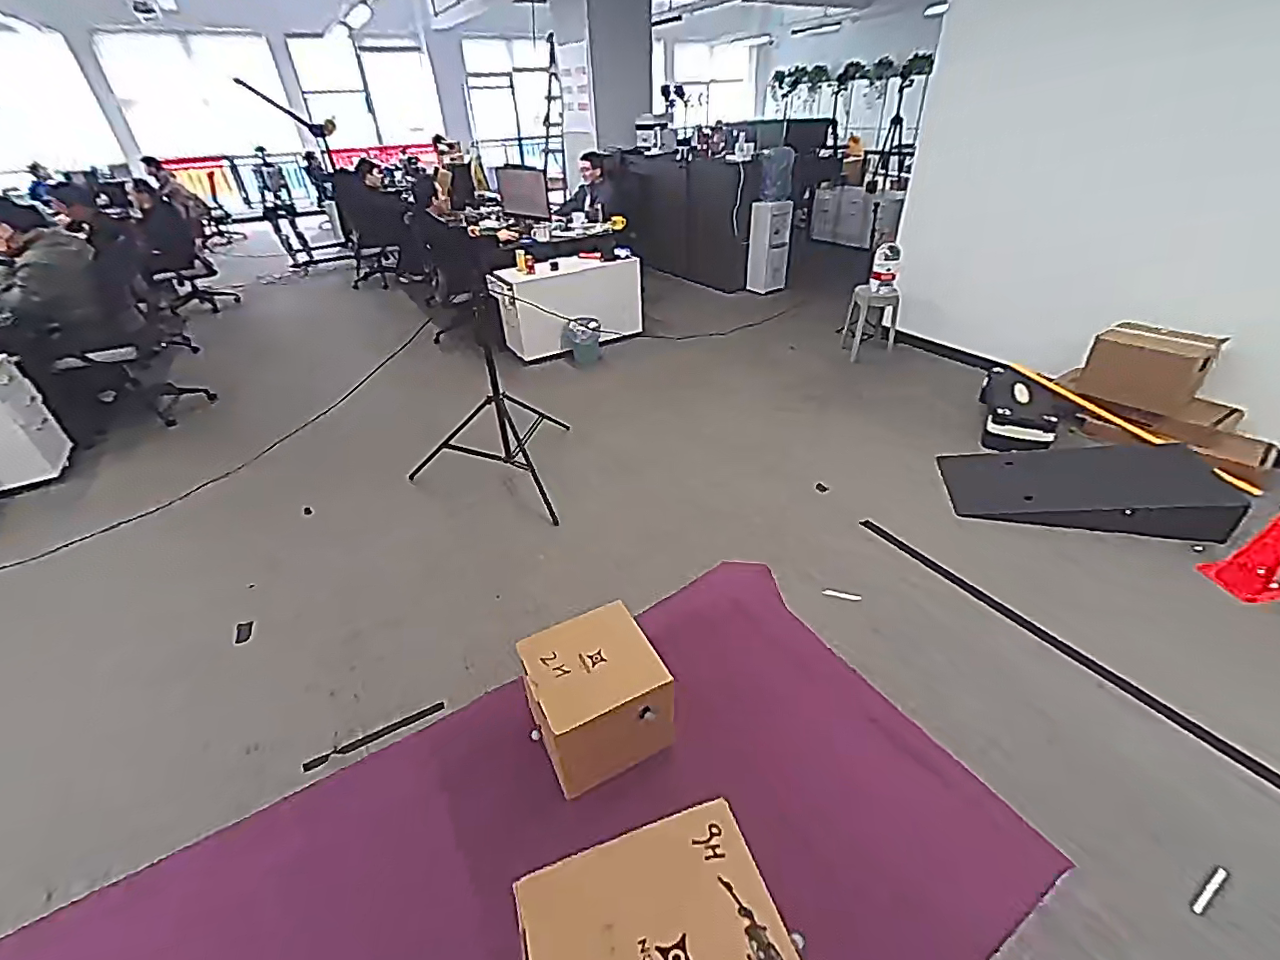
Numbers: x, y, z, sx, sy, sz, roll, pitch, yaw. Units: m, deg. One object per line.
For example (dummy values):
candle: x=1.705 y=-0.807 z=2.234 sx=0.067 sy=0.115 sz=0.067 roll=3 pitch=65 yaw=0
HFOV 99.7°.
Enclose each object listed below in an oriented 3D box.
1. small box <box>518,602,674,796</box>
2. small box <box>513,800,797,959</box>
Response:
small box: x=-0.064 y=0.321 z=0.802 sx=0.179 sy=0.176 sz=0.168 roll=-19 pitch=38 yaw=-21
small box: x=0.016 y=0.386 z=0.403 sx=0.179 sy=0.176 sz=0.168 roll=-12 pitch=39 yaw=-15
